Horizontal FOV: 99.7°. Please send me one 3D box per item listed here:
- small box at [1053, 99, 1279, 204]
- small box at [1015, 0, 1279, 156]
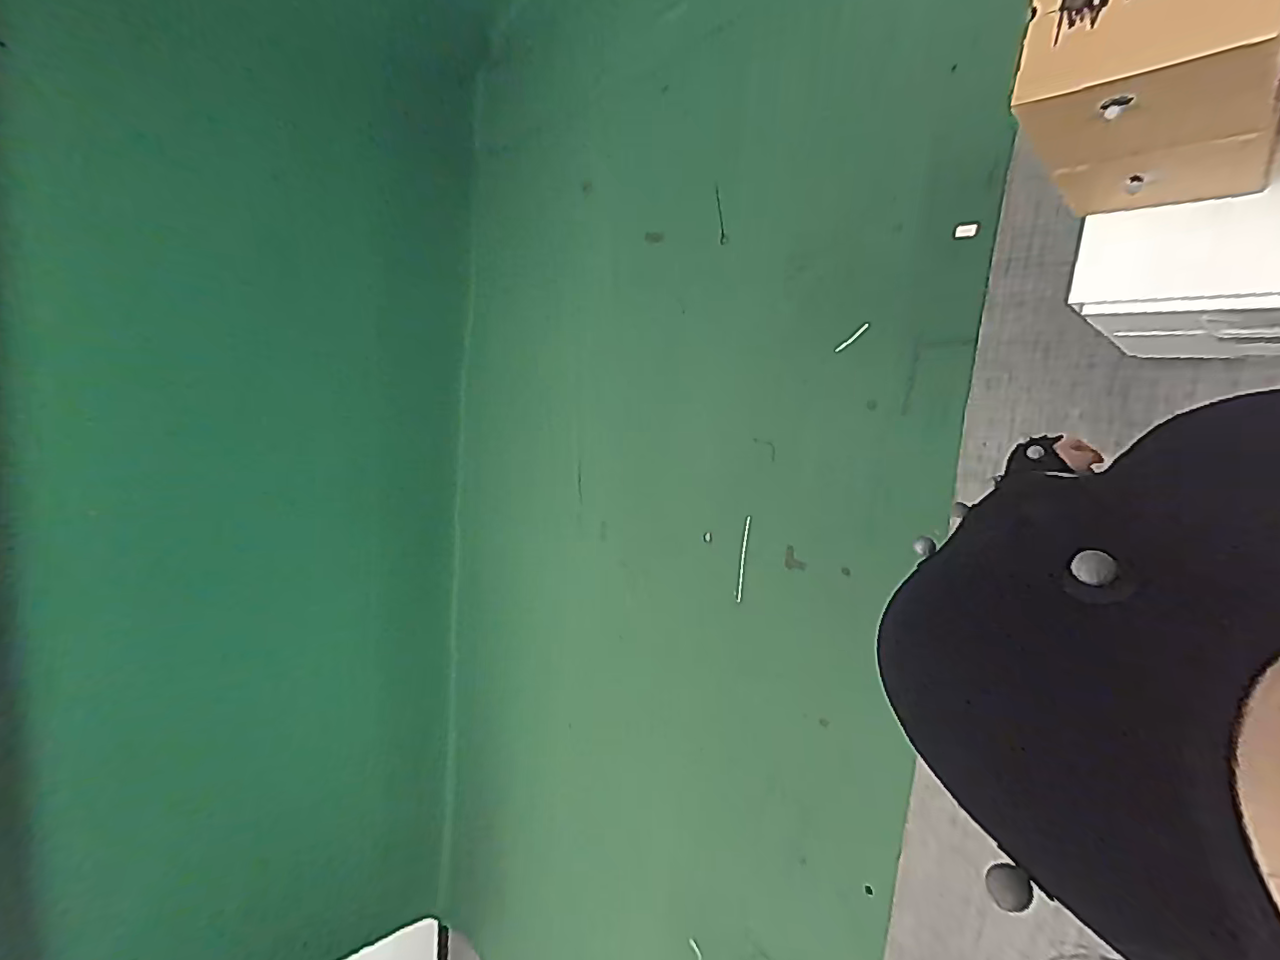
[{"bbox_3d":[0.610,-0.433,0.613,0.179,0.176,0.168,16,104,46],"label":"small box"},{"bbox_3d":[0.486,-0.432,0.502,0.179,0.176,0.168,14,103,46],"label":"small box"}]
